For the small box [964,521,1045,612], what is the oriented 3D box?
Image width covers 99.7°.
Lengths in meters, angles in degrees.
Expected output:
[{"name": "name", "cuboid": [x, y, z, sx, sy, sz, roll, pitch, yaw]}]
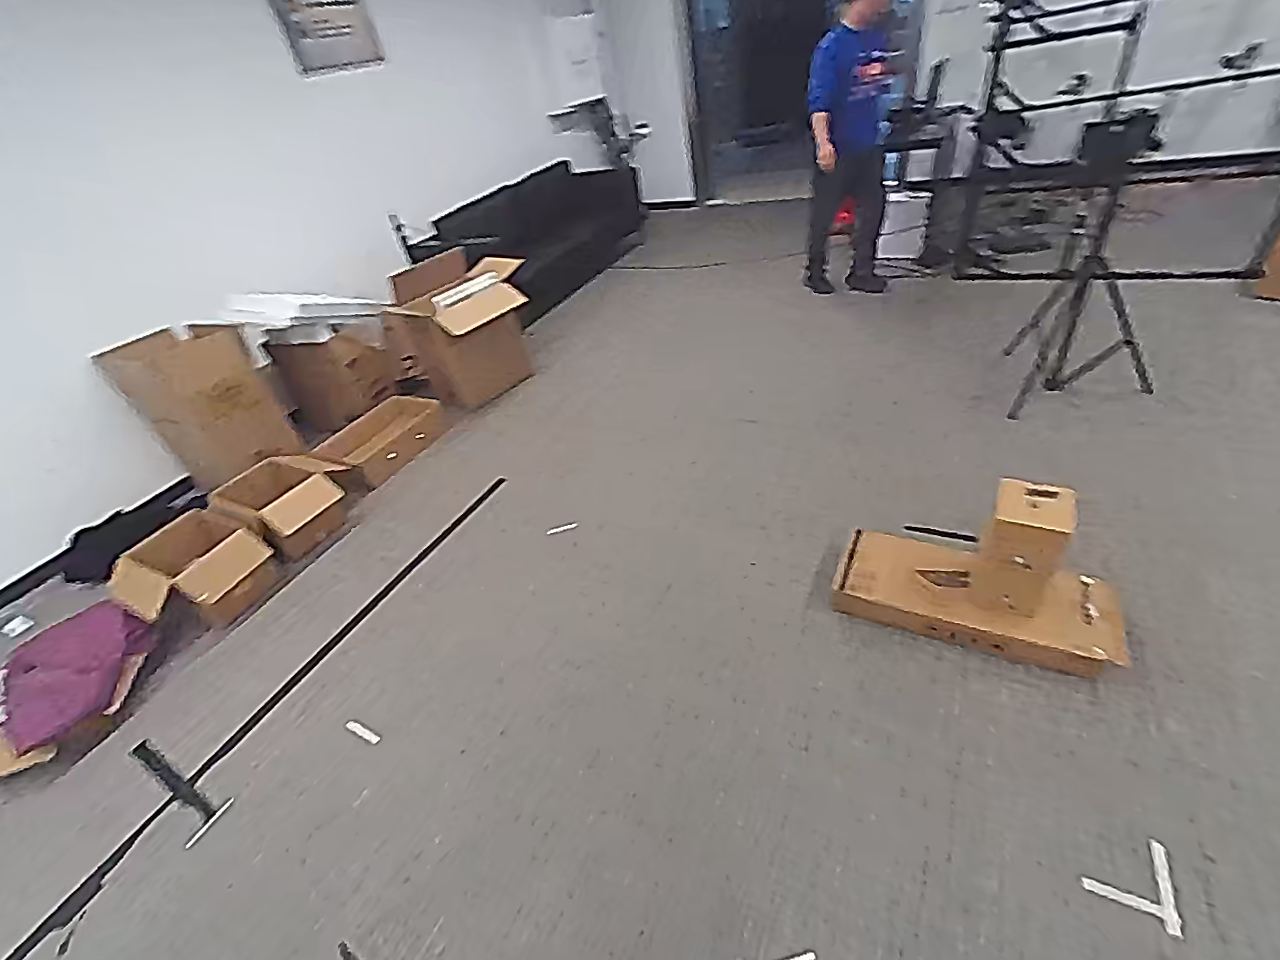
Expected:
[{"name": "small box", "cuboid": [1.055, 0.250, 1.571, 0.168, 0.176, 0.179, 10, 43, 27]}]

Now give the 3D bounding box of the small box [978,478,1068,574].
[{"name": "small box", "cuboid": [1.036, 0.123, 1.468, 0.168, 0.176, 0.179, 13, 44, 30]}]
